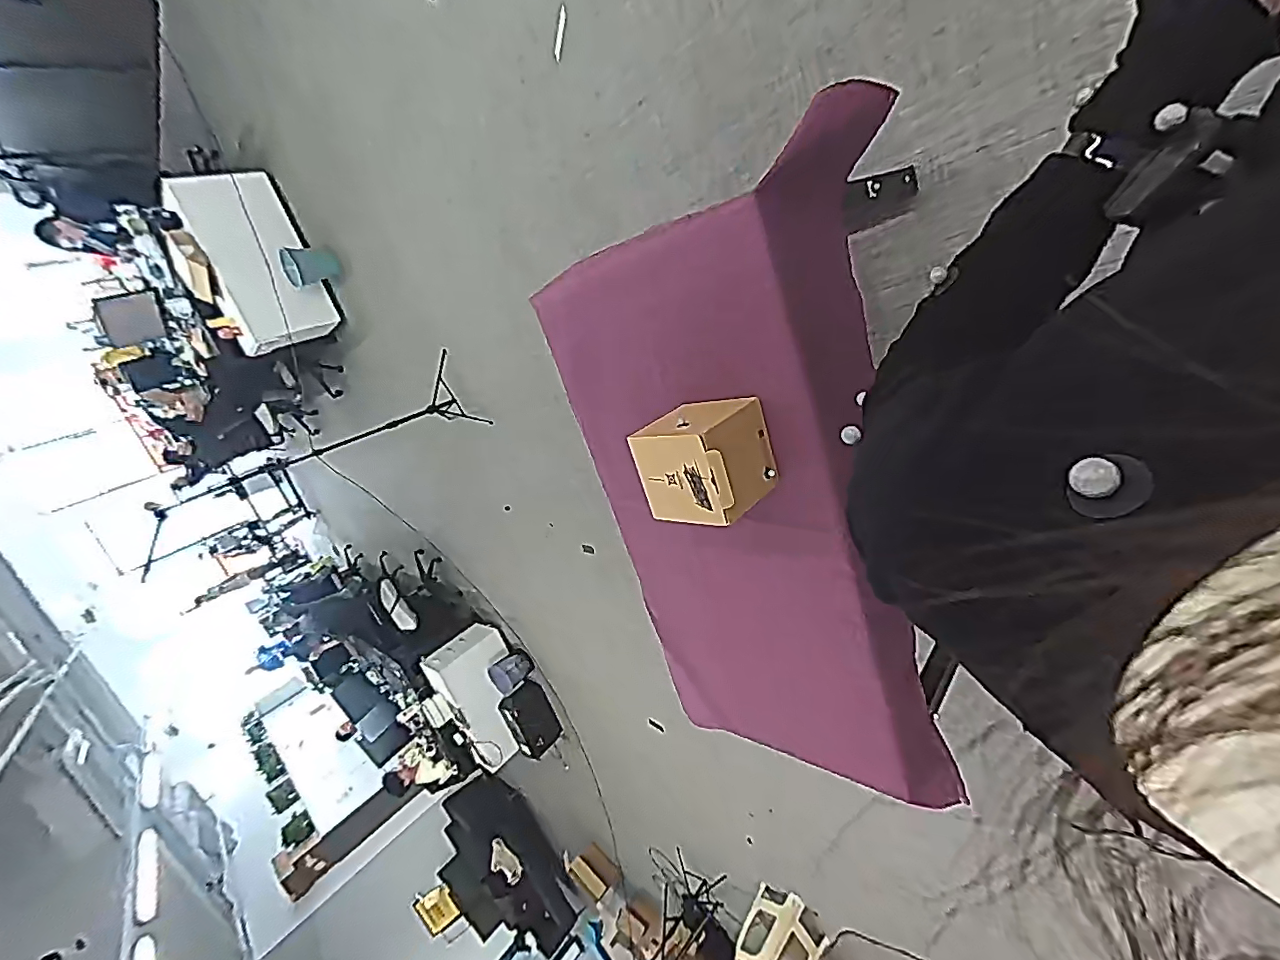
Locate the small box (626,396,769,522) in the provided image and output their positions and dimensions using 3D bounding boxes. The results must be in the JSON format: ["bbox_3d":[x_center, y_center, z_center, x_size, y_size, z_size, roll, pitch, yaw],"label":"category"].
[{"bbox_3d":[0.111,-0.042,0.960,0.179,0.176,0.168,3,118,47],"label":"small box"}]
